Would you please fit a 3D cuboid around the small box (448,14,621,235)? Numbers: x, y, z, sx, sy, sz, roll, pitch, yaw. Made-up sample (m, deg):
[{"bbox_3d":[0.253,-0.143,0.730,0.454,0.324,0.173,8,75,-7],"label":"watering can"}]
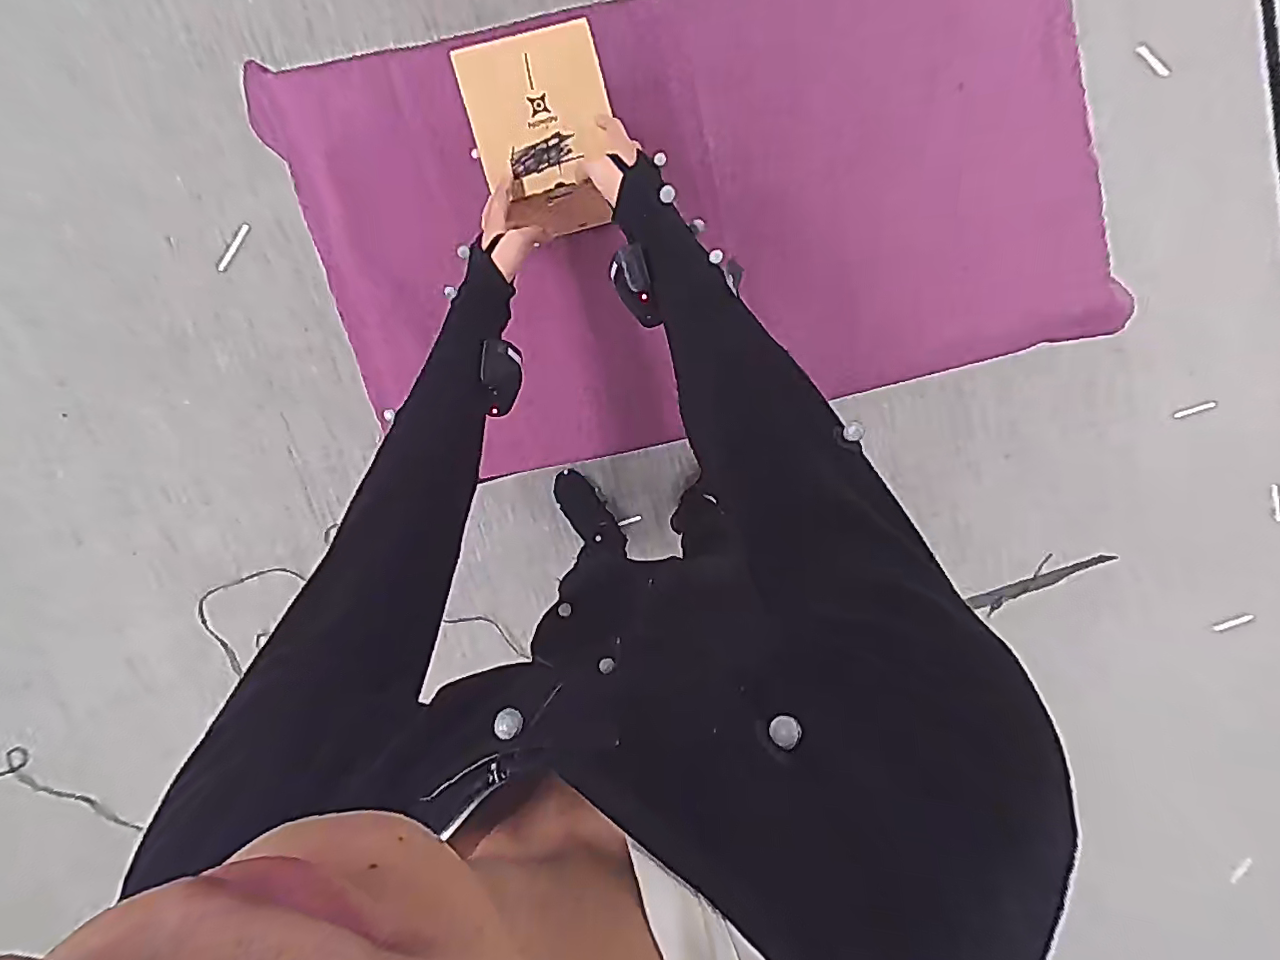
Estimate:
[{"bbox_3d":[-0.126,-0.444,0.712,0.168,0.176,0.179,-17,98,-2],"label":"small box"}]
